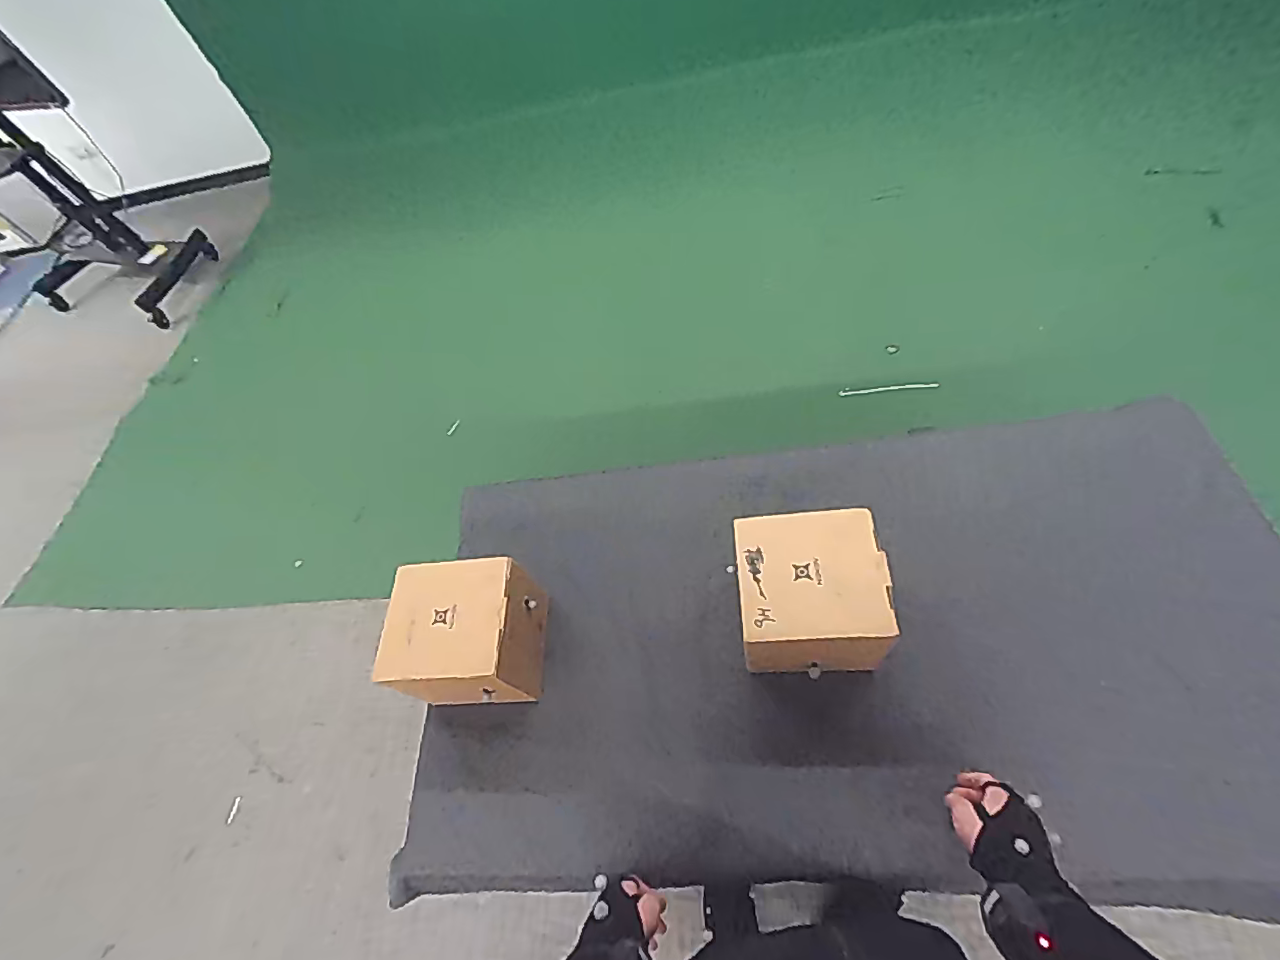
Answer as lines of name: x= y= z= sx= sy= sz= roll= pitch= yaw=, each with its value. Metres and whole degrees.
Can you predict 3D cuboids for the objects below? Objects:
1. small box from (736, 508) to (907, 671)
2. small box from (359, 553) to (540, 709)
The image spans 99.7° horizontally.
small box: x=0.225 y=0.151 z=0.722 sx=0.179 sy=0.176 sz=0.168 roll=-4 pitch=57 yaw=7
small box: x=-0.250 y=0.218 z=0.764 sx=0.179 sy=0.176 sz=0.168 roll=-7 pitch=55 yaw=7
